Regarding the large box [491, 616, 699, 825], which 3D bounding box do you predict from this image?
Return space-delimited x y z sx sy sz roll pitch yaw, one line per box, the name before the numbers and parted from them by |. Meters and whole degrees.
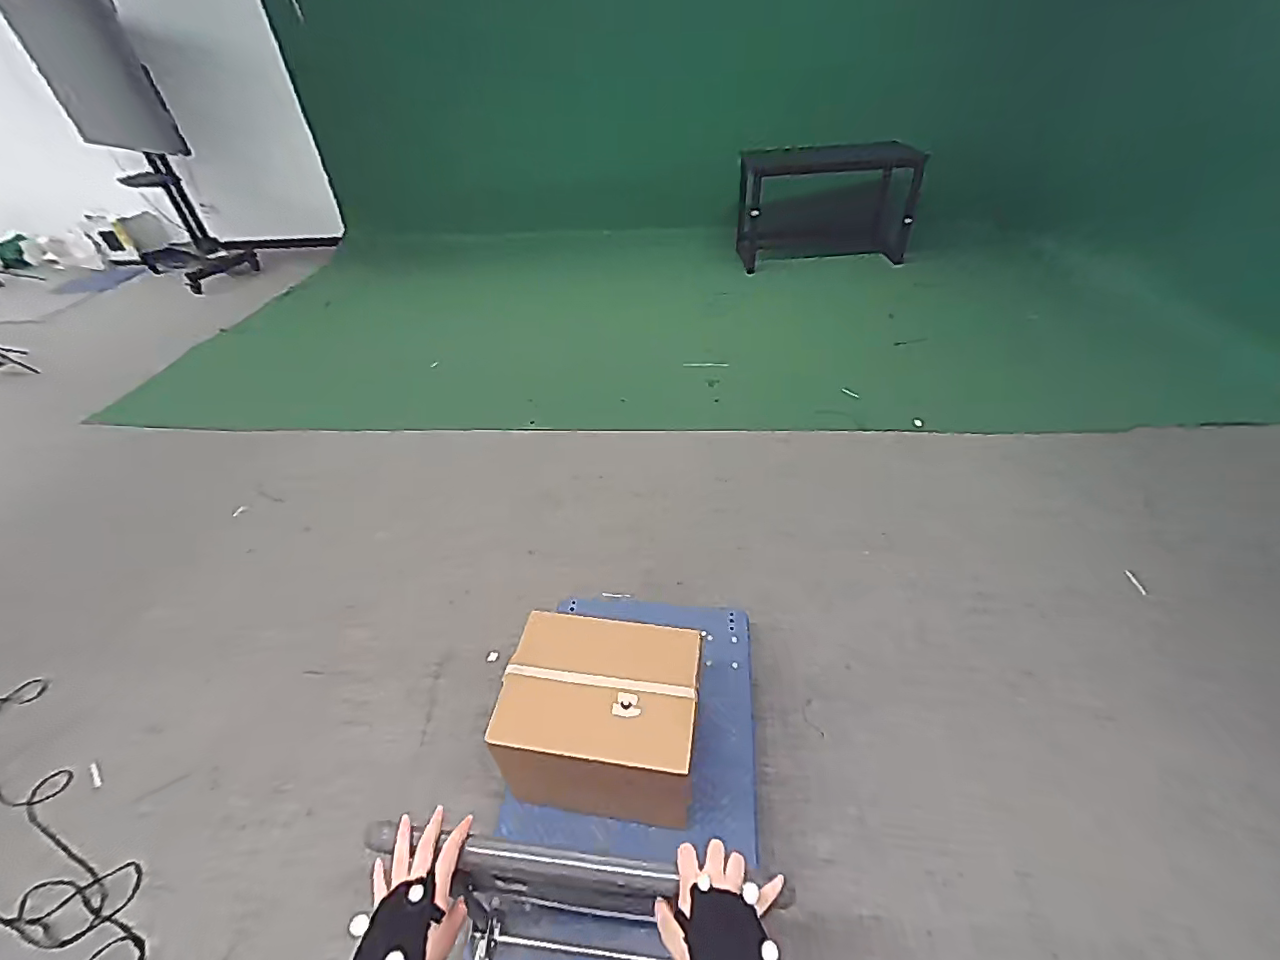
large box | -0.080 0.551 1.252 0.408 0.320 0.320 5 41 8
